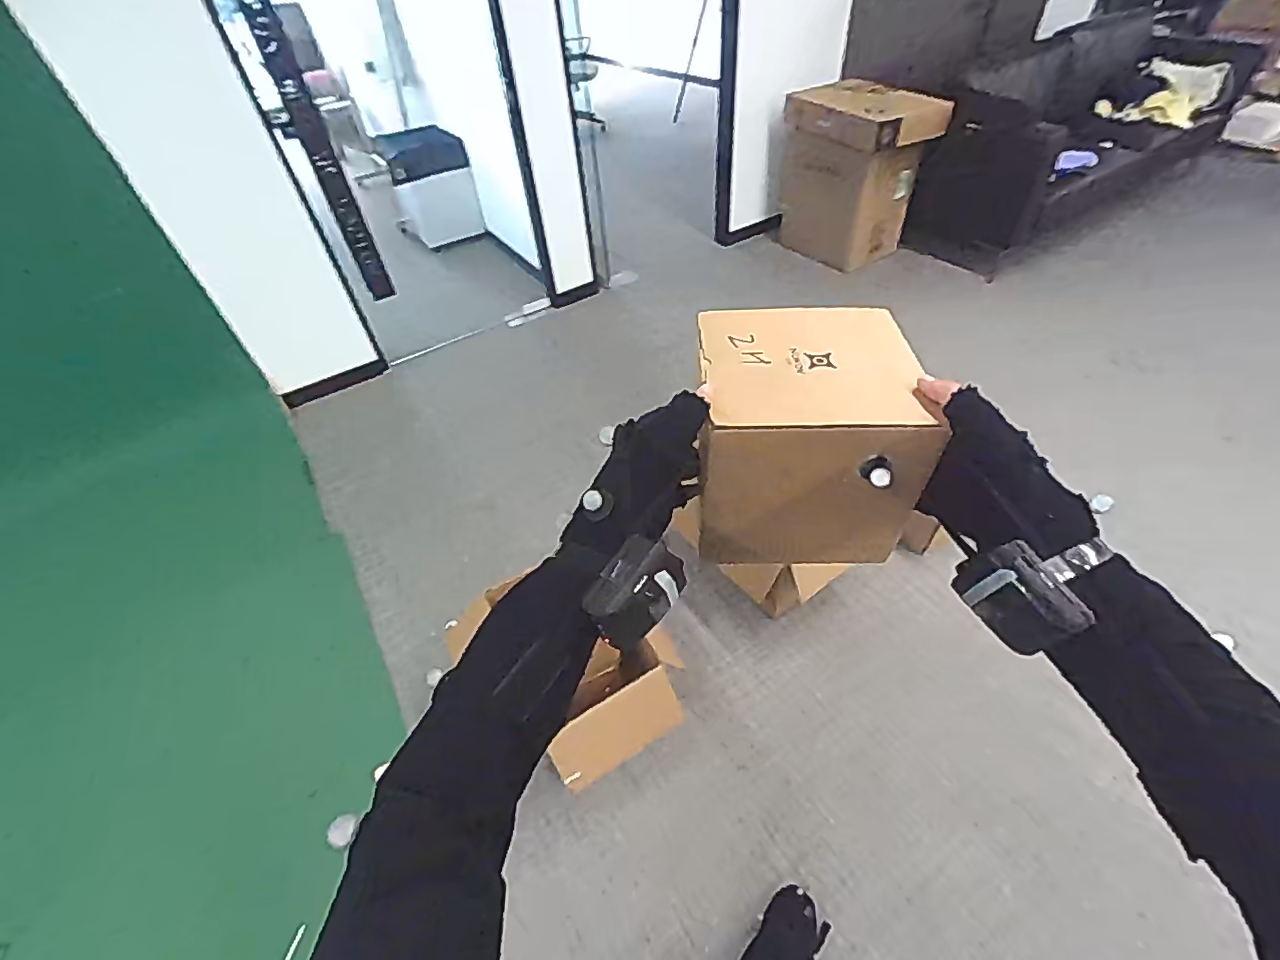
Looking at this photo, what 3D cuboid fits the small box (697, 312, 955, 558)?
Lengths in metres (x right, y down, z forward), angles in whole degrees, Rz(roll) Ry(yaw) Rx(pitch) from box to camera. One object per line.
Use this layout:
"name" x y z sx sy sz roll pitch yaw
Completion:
"small box" 0.149 -0.040 0.509 0.179 0.176 0.168 0 45 2

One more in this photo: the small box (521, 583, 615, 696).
"small box" -0.170 0.390 1.322 0.179 0.176 0.168 -22 47 -18
